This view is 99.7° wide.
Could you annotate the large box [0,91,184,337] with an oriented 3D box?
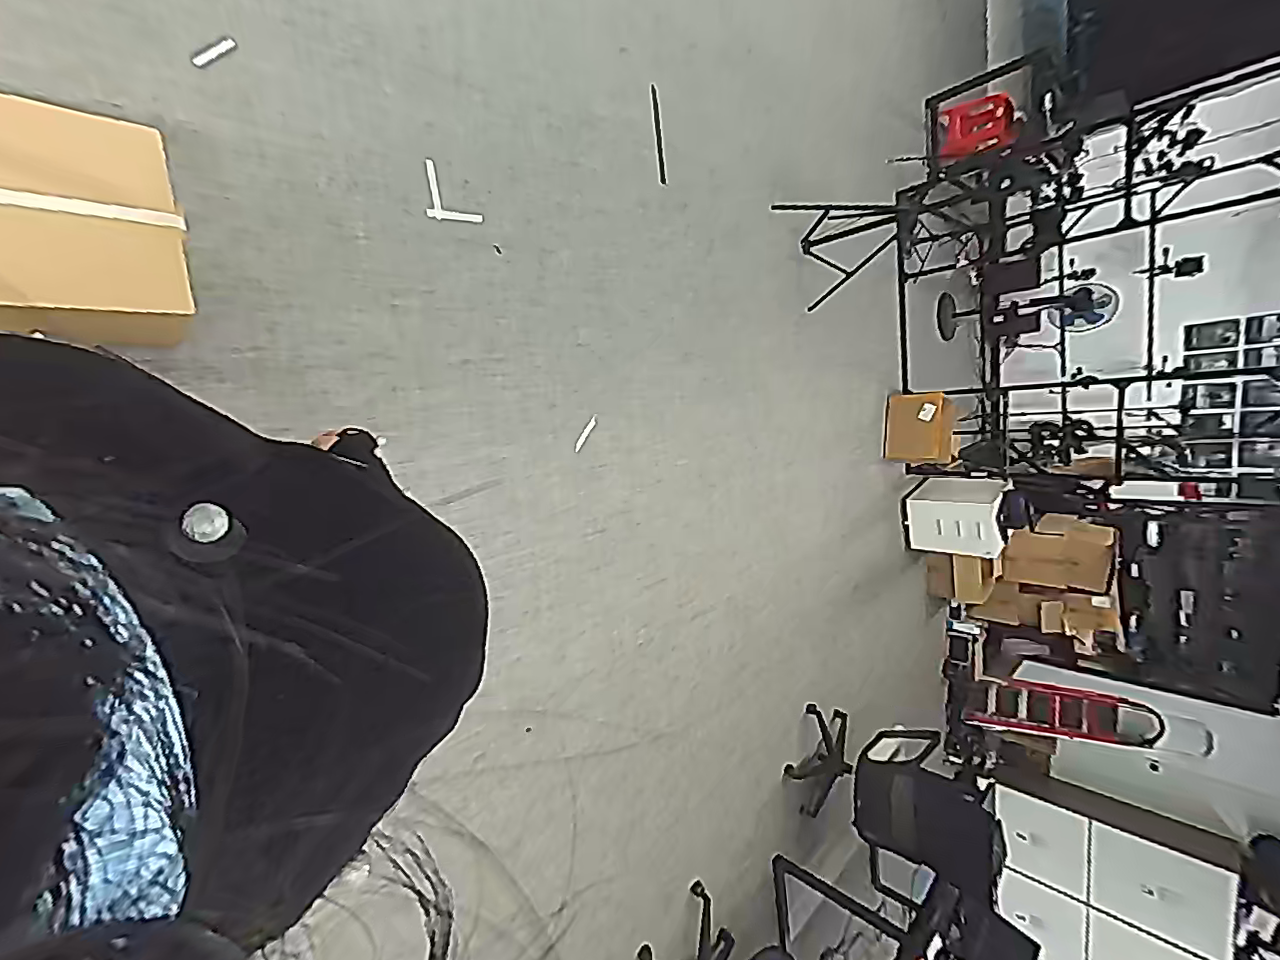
[{"bbox_3d":[-1.059,-0.420,0.898,0.408,0.320,0.320,-13,98,-44],"label":"large box"}]
